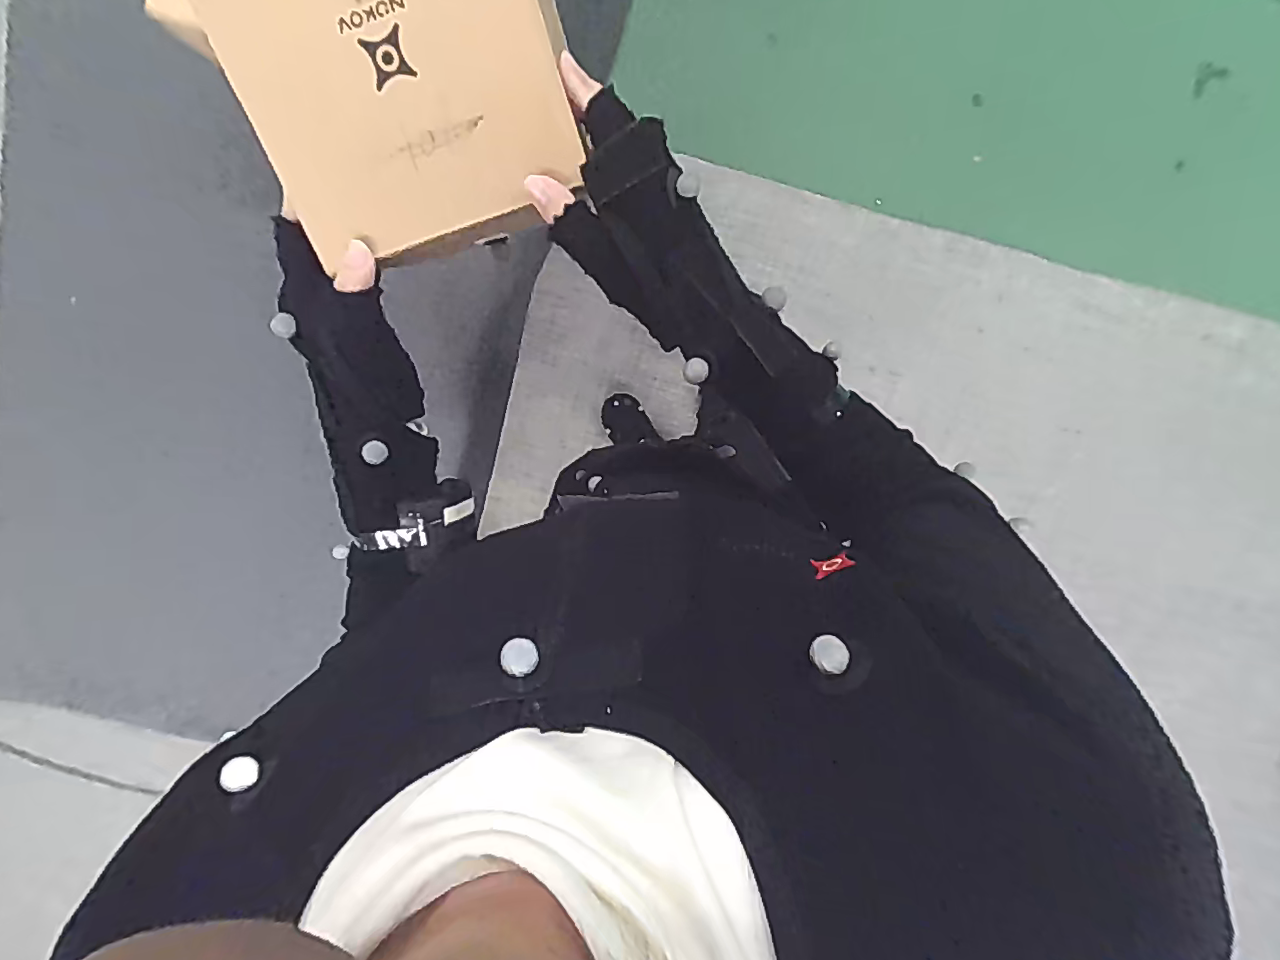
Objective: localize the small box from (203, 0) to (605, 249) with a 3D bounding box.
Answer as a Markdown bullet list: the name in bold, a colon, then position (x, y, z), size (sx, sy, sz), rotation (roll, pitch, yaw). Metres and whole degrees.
- **small box**: position (-0.126, -0.259, 0.341), size (0.168, 0.176, 0.179), rotation (-14, 115, 8)
